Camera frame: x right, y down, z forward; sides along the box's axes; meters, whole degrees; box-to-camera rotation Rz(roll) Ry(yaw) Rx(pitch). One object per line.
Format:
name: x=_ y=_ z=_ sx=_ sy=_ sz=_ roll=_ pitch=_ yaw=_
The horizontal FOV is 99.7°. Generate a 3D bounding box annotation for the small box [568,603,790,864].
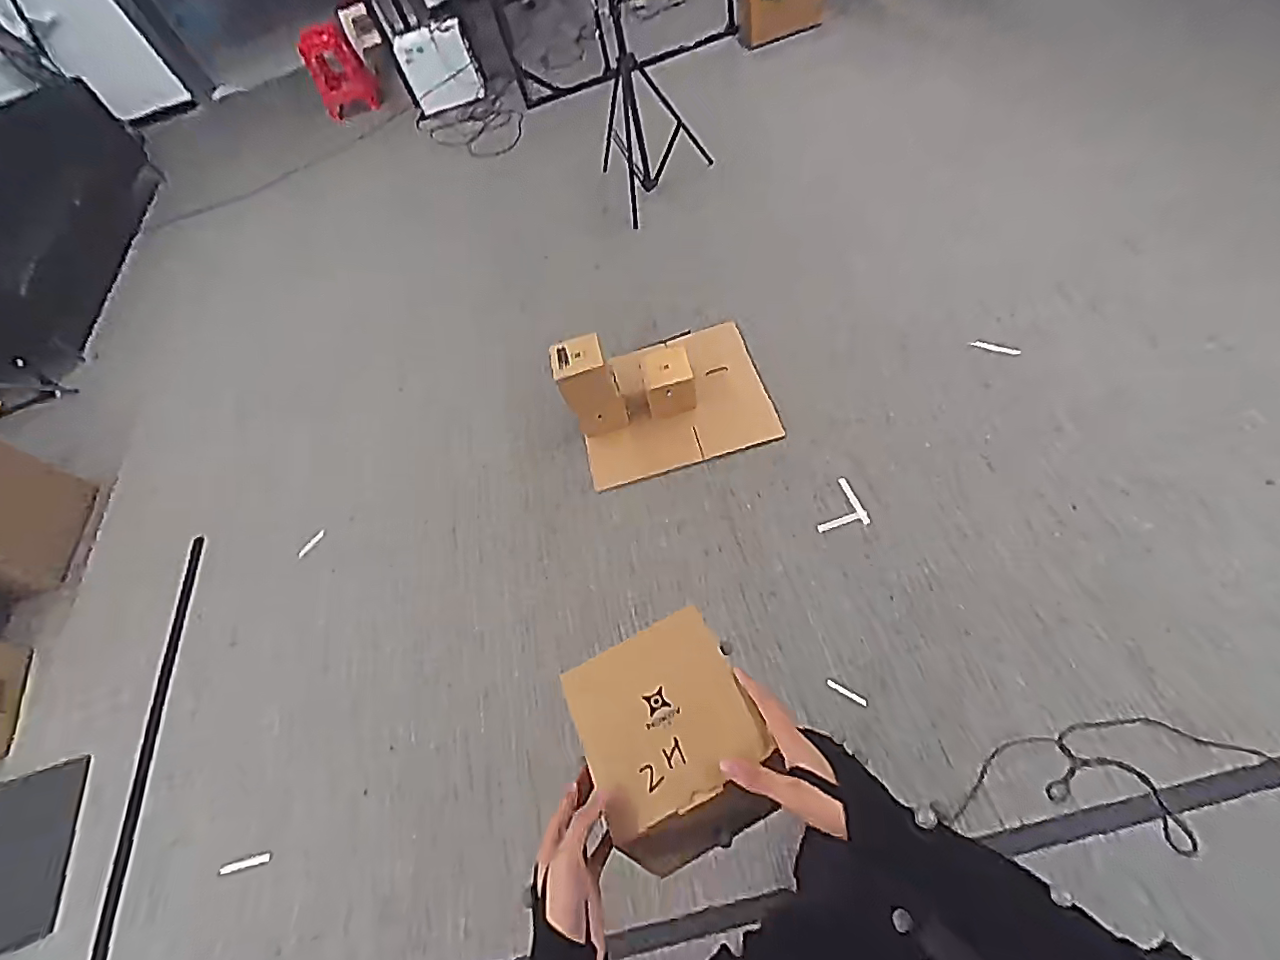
small box: x=0.044 y=0.274 z=0.587 sx=0.168 sy=0.176 sz=0.179 roll=-27 pitch=45 yaw=-6

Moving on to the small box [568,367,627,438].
small box: x=-0.153 y=-0.285 z=2.017 sx=0.179 sy=0.176 sz=0.168 roll=-17 pitch=57 yaw=5

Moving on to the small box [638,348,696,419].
small box: x=0.103 y=-0.353 z=1.997 sx=0.179 sy=0.176 sz=0.168 roll=-15 pitch=57 yaw=4
